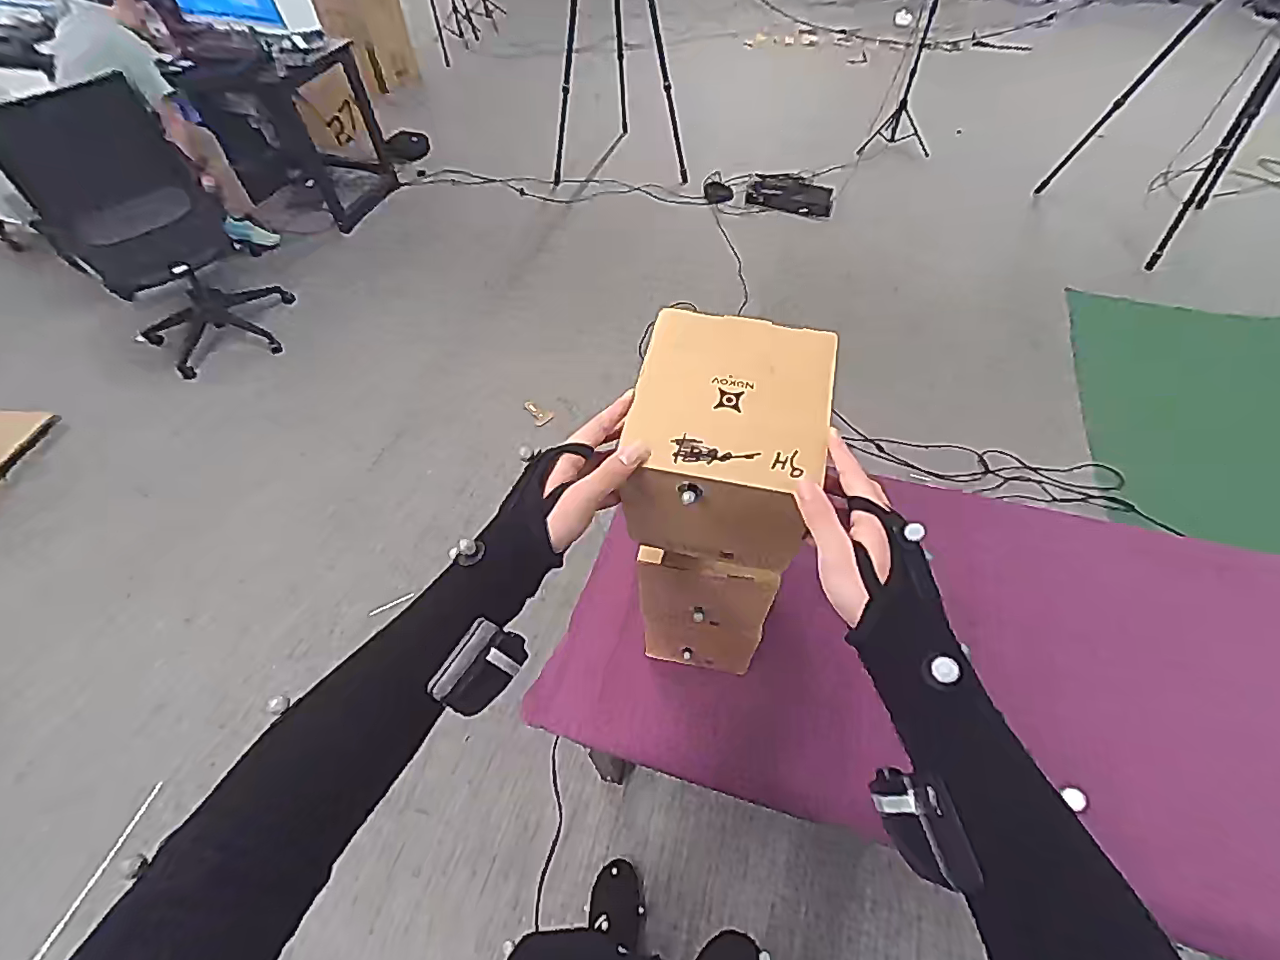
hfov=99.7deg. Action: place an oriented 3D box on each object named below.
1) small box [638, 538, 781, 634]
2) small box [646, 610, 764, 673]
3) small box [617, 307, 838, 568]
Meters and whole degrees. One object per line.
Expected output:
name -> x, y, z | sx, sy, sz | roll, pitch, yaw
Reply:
small box -> 0.093, 0.082, 0.724 | 0.168, 0.176, 0.179 | 8, 54, 8
small box -> 0.104, 0.181, 0.855 | 0.168, 0.176, 0.179 | 8, 55, 8
small box -> 0.084, -0.037, 0.529 | 0.168, 0.176, 0.179 | 10, 60, 10
